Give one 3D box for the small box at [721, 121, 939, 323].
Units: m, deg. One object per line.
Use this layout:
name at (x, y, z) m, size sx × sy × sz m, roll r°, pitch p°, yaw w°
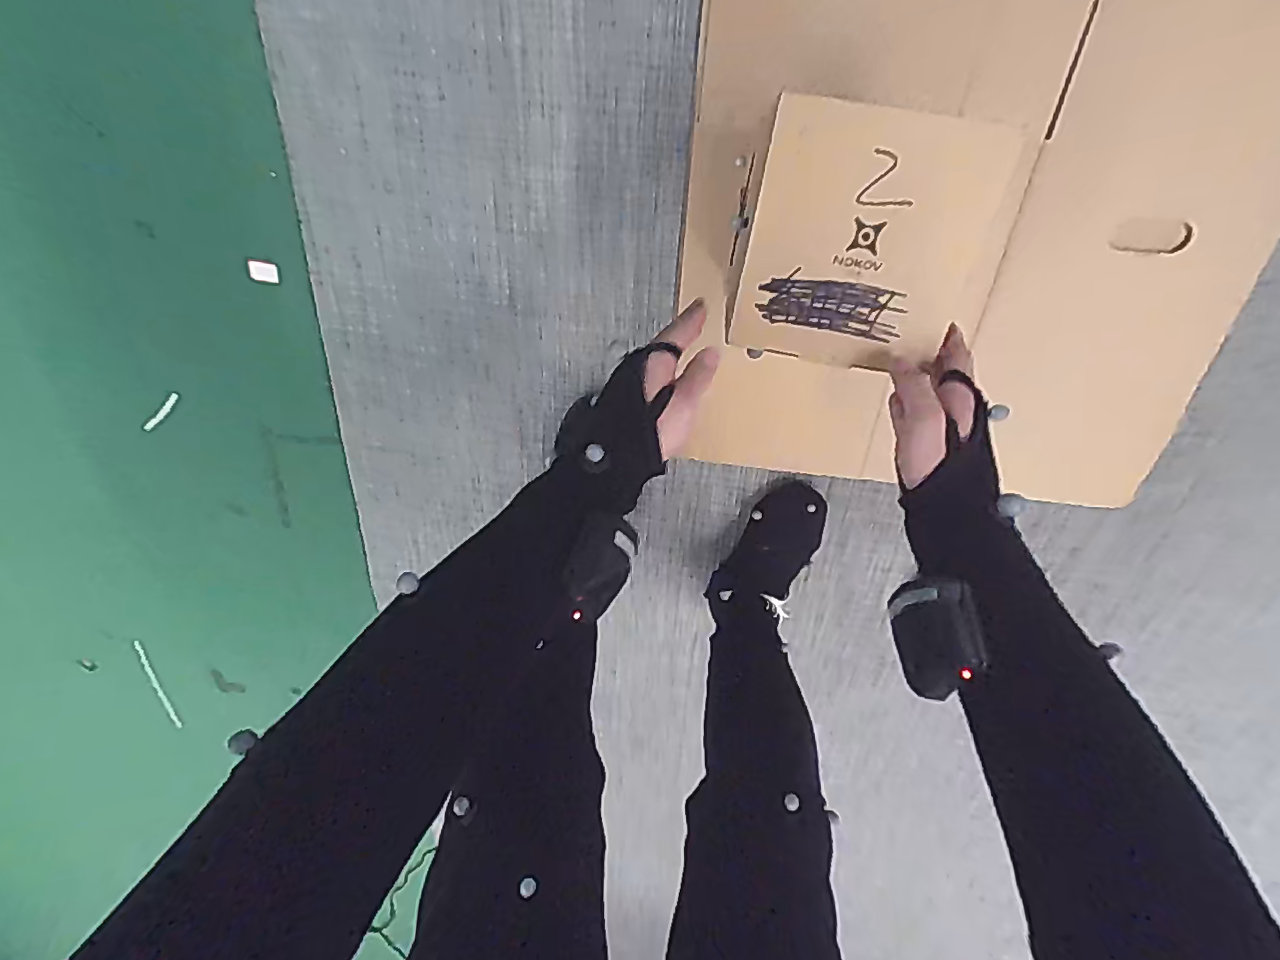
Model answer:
small box at (0.194, -0.290, 0.613) m, size 0.179 × 0.176 × 0.168 m, roll 10°, pitch 119°, yaw 3°
